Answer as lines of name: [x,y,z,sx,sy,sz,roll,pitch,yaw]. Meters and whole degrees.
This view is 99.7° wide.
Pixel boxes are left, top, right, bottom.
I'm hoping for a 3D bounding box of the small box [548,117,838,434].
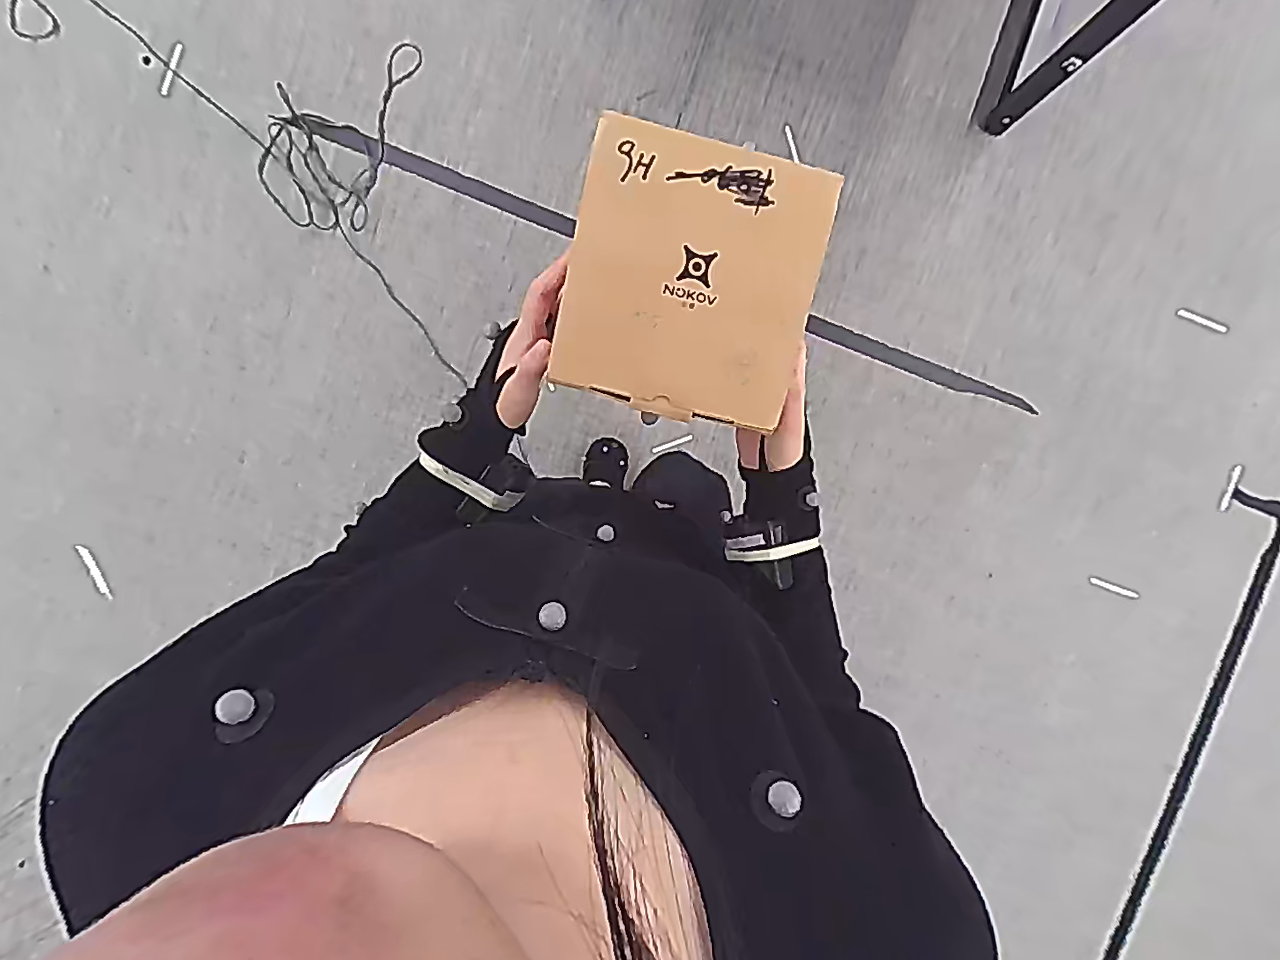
small box: [0.032,-0.148,0.446,0.168,0.176,0.179,13,99,-4]
